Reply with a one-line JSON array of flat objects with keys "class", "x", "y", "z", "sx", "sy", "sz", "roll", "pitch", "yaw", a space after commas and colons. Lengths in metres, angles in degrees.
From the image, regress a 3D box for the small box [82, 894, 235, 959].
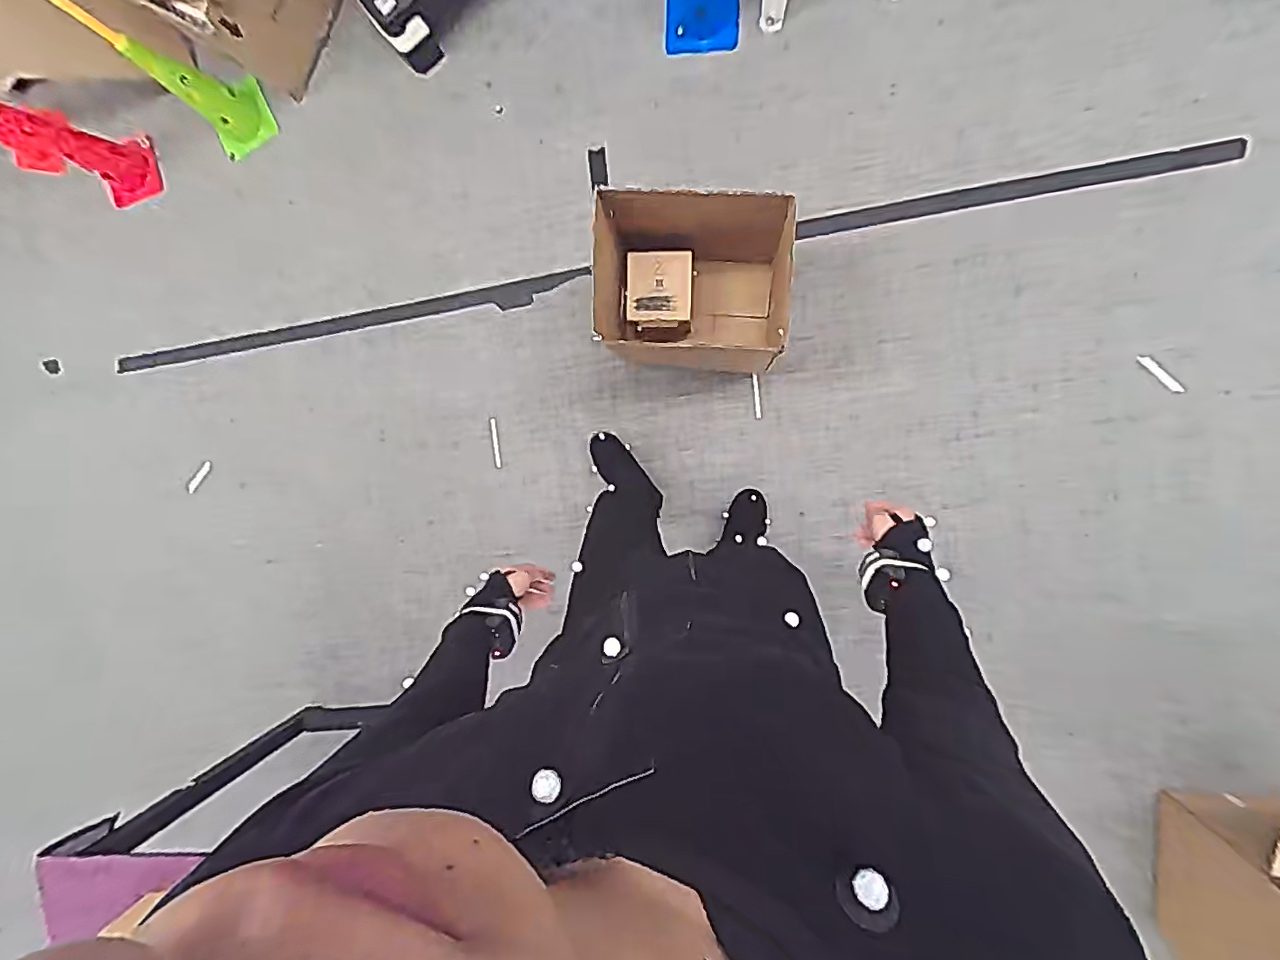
[{"class": "small box", "x": -0.900, "y": 0.912, "z": 1.005, "sx": 0.179, "sy": 0.176, "sz": 0.168, "roll": -12, "pitch": 93, "yaw": 11}]
